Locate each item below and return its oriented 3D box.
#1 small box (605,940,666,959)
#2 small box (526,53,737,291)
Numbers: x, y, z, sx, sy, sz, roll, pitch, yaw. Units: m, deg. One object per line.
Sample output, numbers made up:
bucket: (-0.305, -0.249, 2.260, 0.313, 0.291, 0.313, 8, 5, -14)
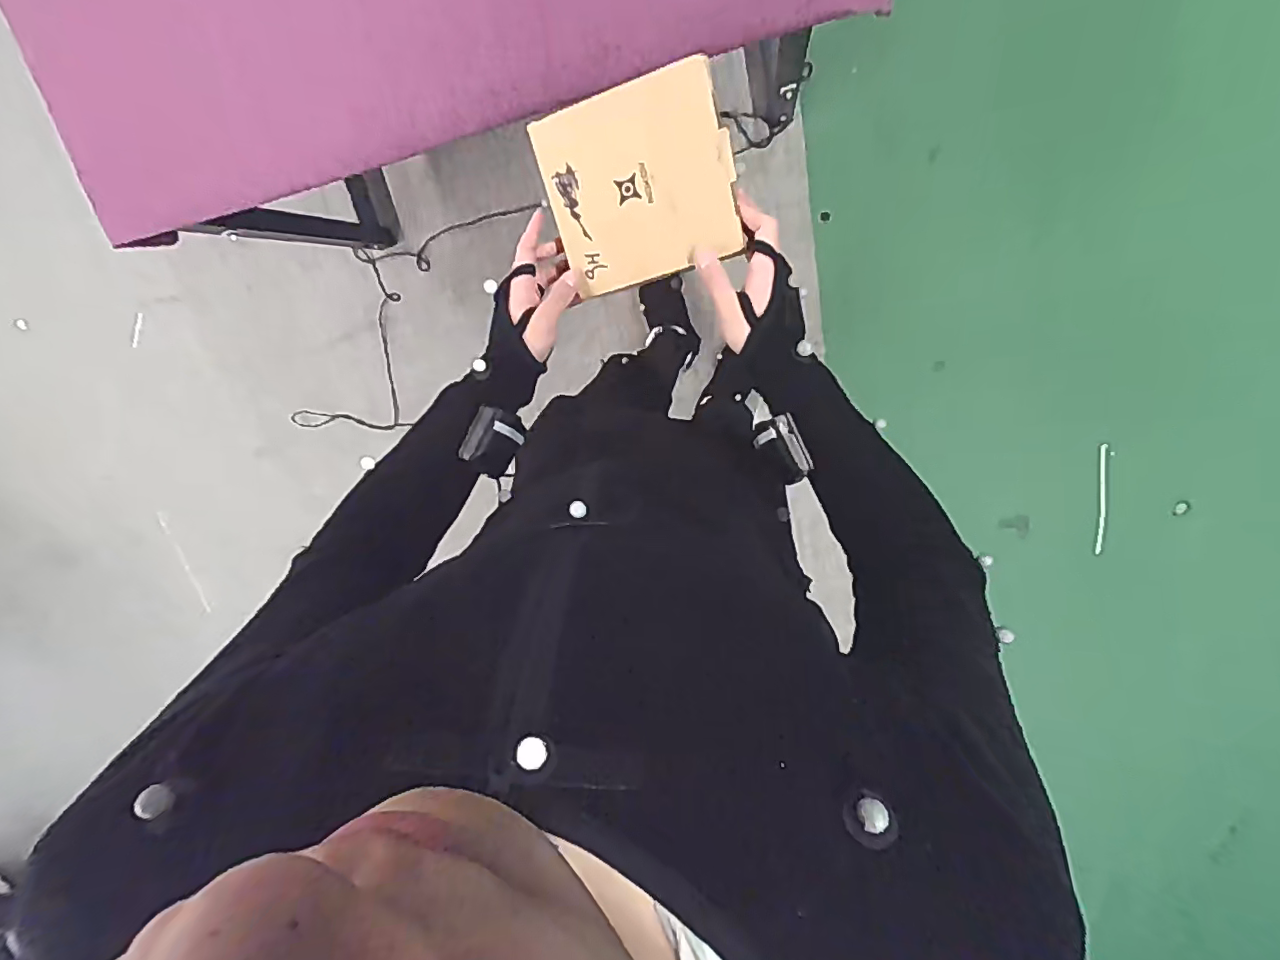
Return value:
small box: (-0.020, 1.465, 1.541, 0.179, 0.176, 0.168, 1, 110, 14)
small box: (0.006, -0.318, 0.592, 0.179, 0.176, 0.168, -11, 109, 16)
